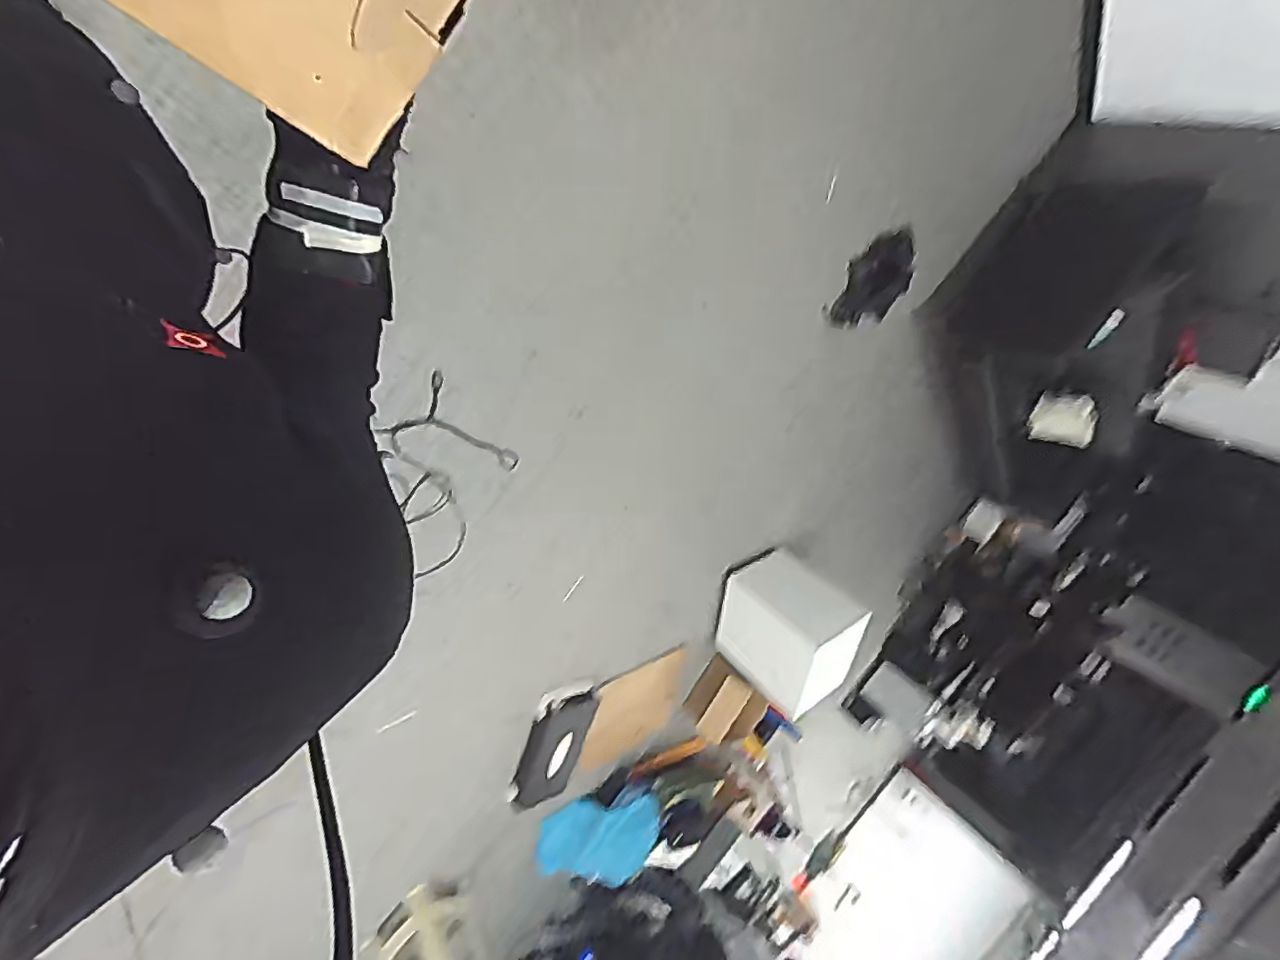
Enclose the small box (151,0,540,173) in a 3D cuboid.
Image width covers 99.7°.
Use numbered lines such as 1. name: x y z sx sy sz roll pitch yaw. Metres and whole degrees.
1. small box: -0.104 -0.253 0.160 0.168 0.179 0.176 -26 149 30
